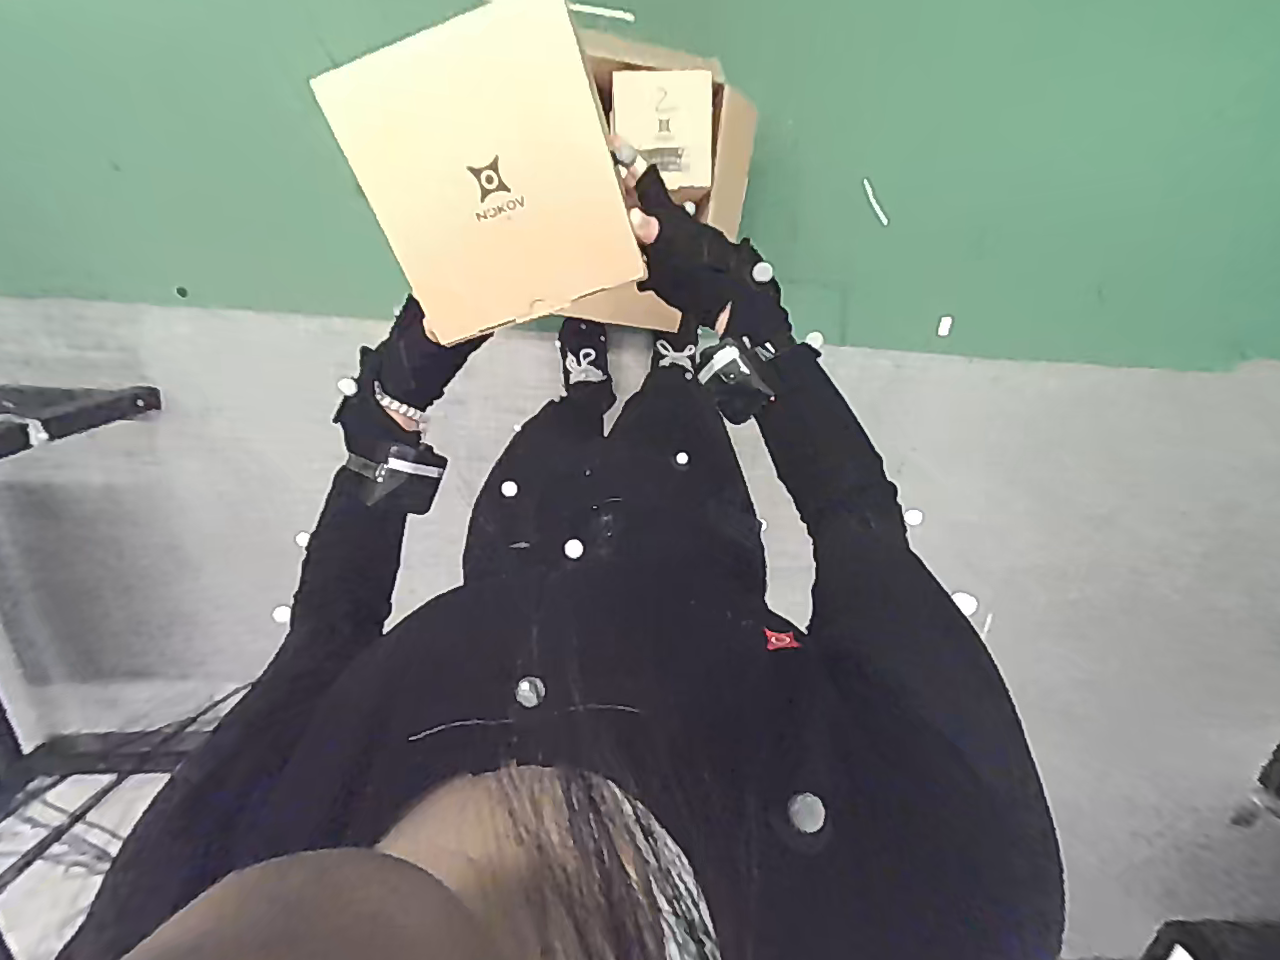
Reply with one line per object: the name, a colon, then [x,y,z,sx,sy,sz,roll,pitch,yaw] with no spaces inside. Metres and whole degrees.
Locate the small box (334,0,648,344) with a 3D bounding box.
small box: [-0.099,-0.236,0.443,0.168,0.176,0.179,-16,119,6]
